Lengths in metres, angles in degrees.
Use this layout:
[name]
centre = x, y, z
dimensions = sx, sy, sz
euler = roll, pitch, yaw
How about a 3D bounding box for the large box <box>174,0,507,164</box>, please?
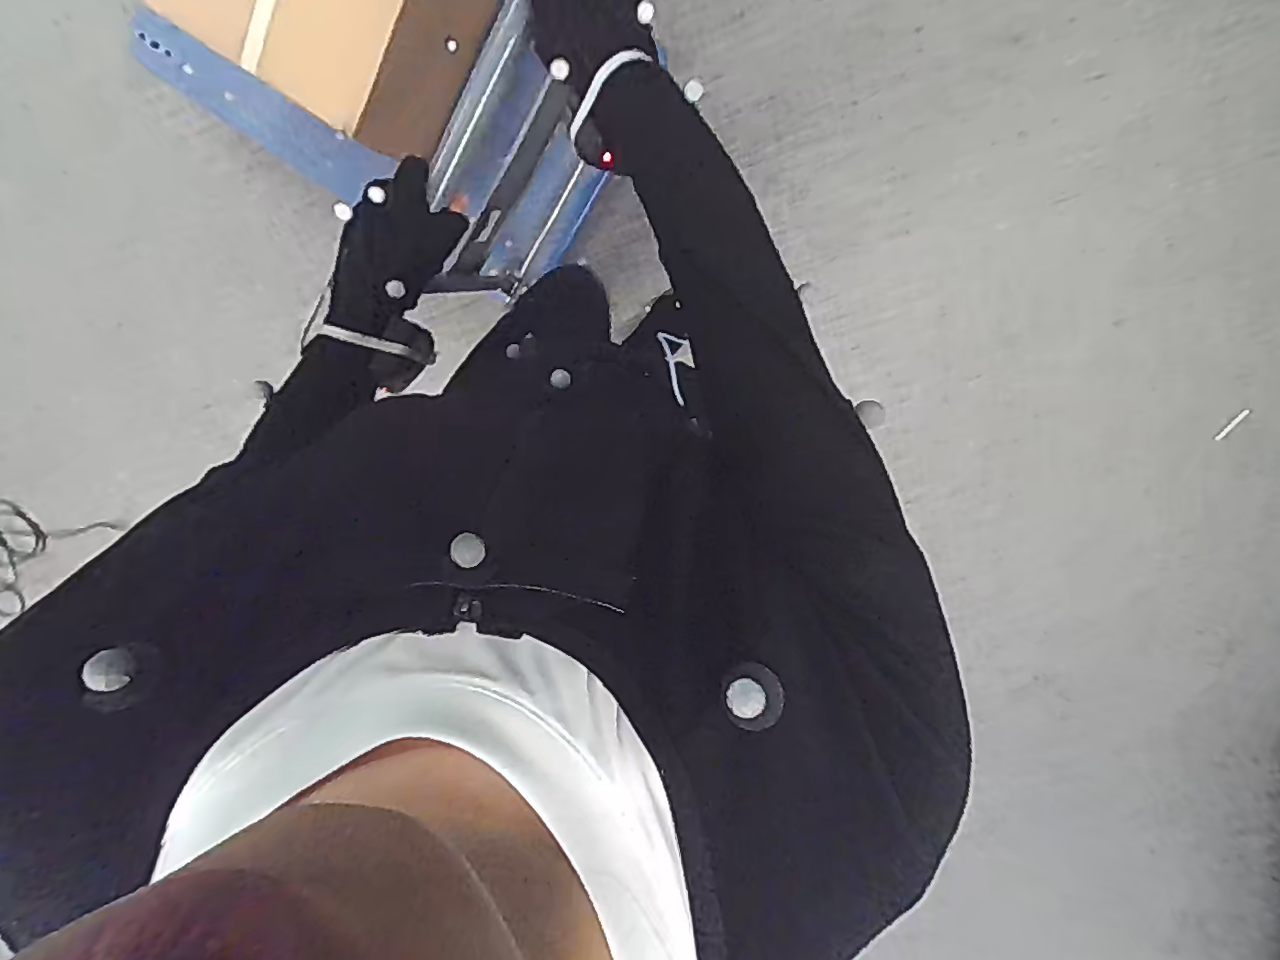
[large box]
centre = -0.439, -0.814, 0.877
dimensions = 0.320, 0.320, 0.408
euler = 31, 110, -10
